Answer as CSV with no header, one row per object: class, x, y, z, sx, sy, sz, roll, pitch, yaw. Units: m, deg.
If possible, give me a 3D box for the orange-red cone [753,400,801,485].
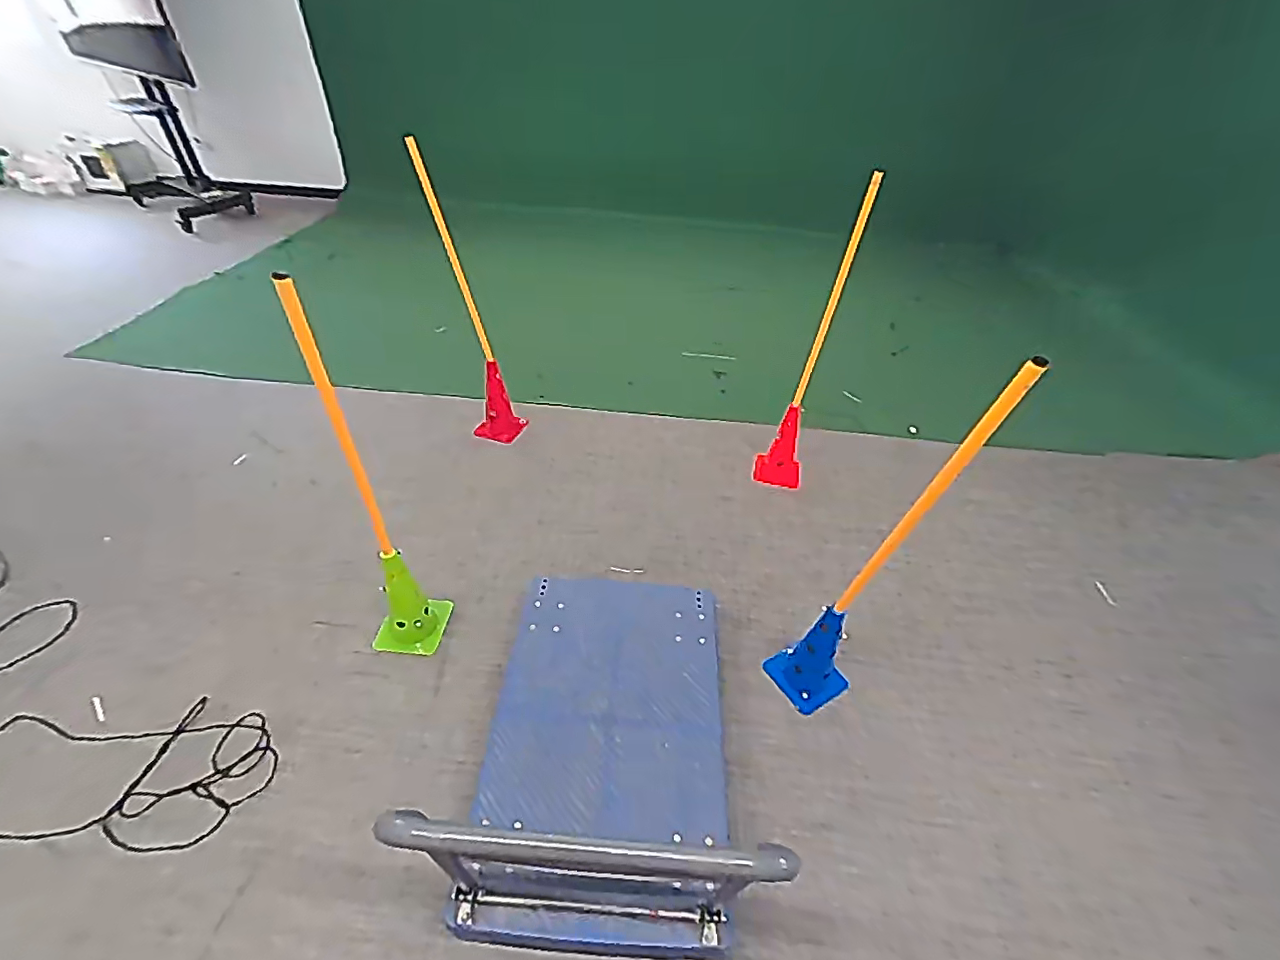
orange-red cone,0.616,-0.179,2.289,0.198,0.360,0.199,12,43,11
